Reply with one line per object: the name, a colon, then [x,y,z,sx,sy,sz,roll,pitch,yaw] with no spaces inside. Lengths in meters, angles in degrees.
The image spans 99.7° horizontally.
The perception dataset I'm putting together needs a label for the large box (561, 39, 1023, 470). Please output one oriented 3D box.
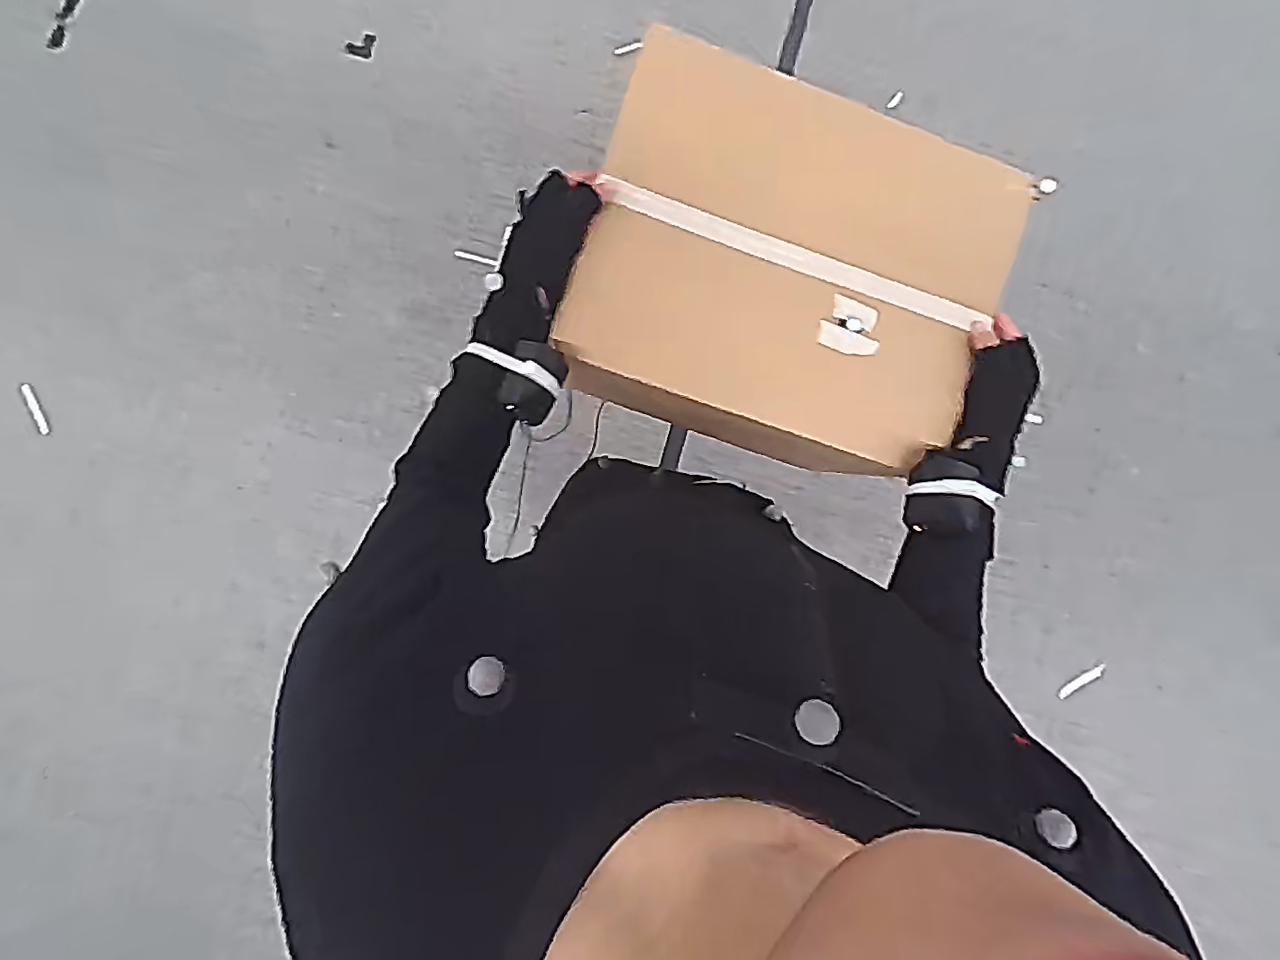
large box: [0.140,-0.220,0.676,0.408,0.320,0.320,18,93,-6]
